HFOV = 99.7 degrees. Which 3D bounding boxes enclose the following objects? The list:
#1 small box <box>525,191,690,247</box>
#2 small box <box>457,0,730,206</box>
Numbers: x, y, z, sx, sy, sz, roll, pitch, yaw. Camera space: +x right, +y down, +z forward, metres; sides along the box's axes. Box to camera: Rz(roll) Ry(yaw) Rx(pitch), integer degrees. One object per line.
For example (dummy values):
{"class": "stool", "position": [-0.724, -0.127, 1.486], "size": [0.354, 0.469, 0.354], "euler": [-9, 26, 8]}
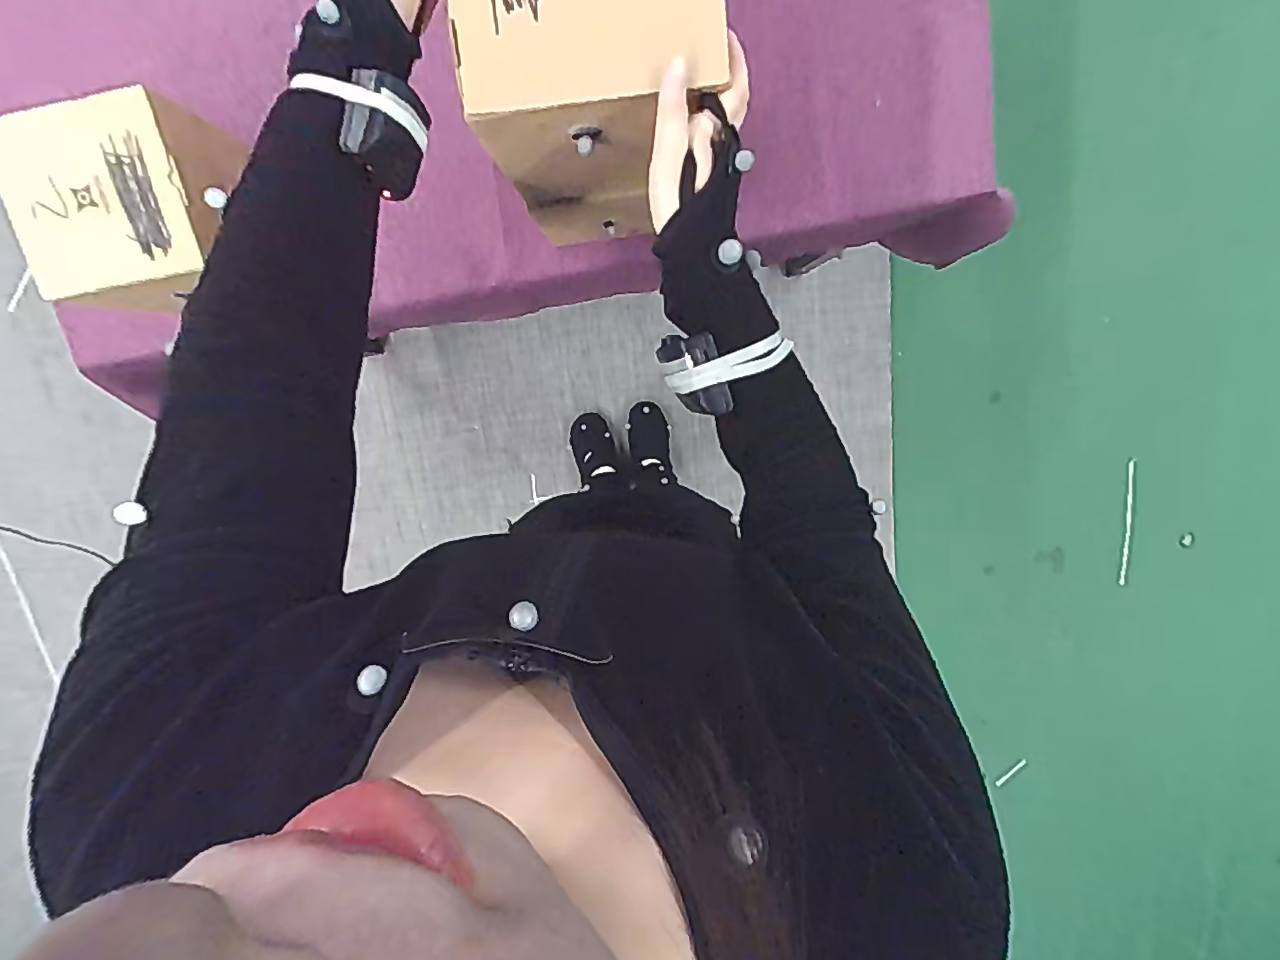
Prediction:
{"class": "small box", "position": [-0.039, -0.365, 0.592], "size": [0.168, 0.176, 0.179], "euler": [-7, 102, 0]}
{"class": "small box", "position": [-0.030, -0.332, 0.423], "size": [0.179, 0.176, 0.168], "euler": [-5, 100, 2]}
